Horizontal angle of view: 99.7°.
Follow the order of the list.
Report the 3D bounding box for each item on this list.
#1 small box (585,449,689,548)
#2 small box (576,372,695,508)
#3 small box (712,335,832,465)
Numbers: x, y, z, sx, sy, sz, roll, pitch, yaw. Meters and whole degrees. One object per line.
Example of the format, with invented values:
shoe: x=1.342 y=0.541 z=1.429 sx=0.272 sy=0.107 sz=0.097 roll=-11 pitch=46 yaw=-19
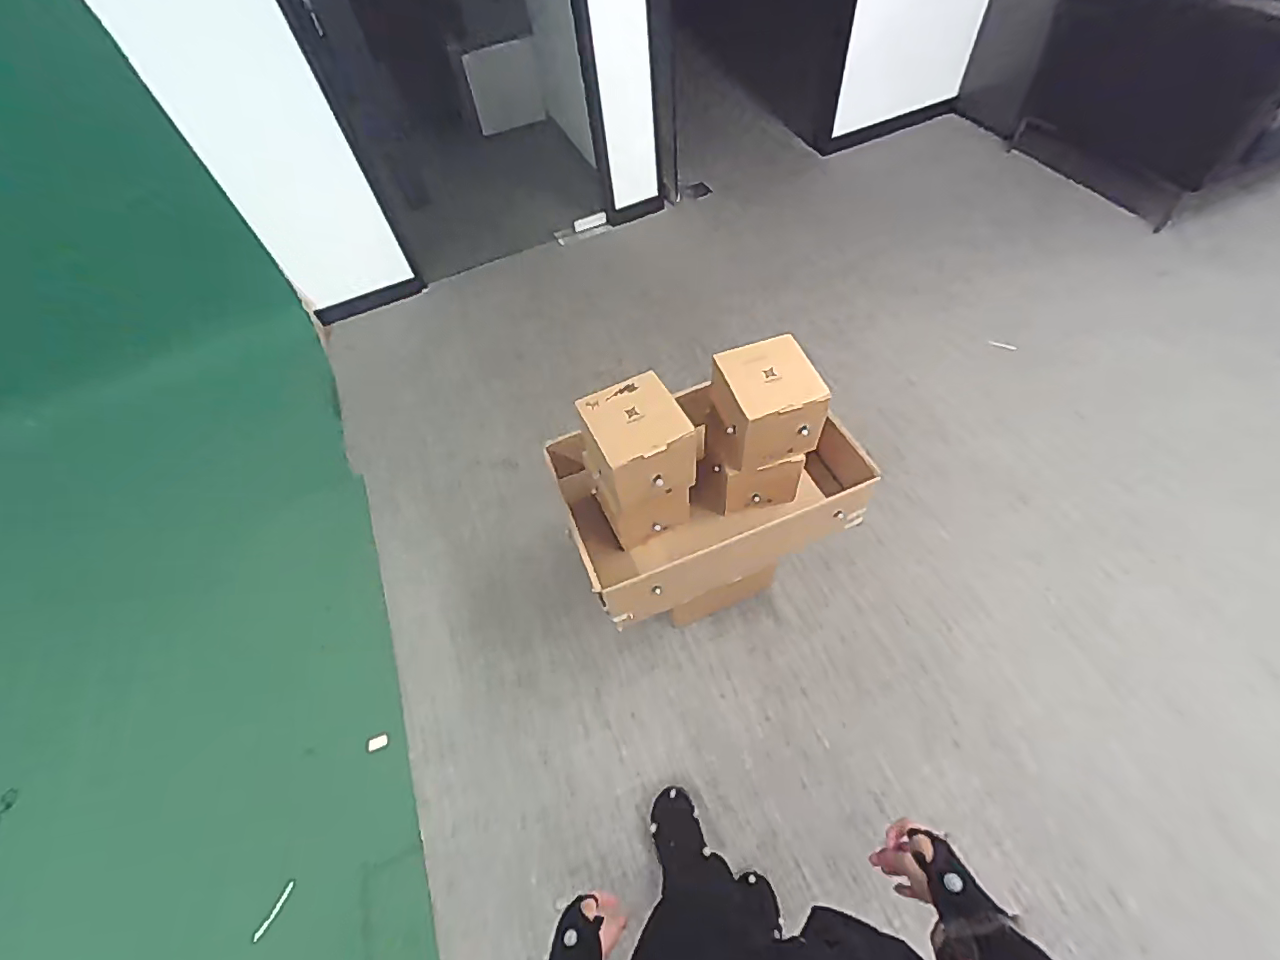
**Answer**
small box: x=-0.005 y=0.016 z=1.171 sx=0.168 sy=0.176 sz=0.179 roll=-24 pitch=58 yaw=-10
small box: x=-0.004 y=-0.067 z=1.029 sx=0.168 sy=0.176 sz=0.179 roll=-23 pitch=58 yaw=-10
small box: x=0.249 y=-0.148 z=1.061 sx=0.168 sy=0.176 sz=0.179 roll=-16 pitch=56 yaw=-6
